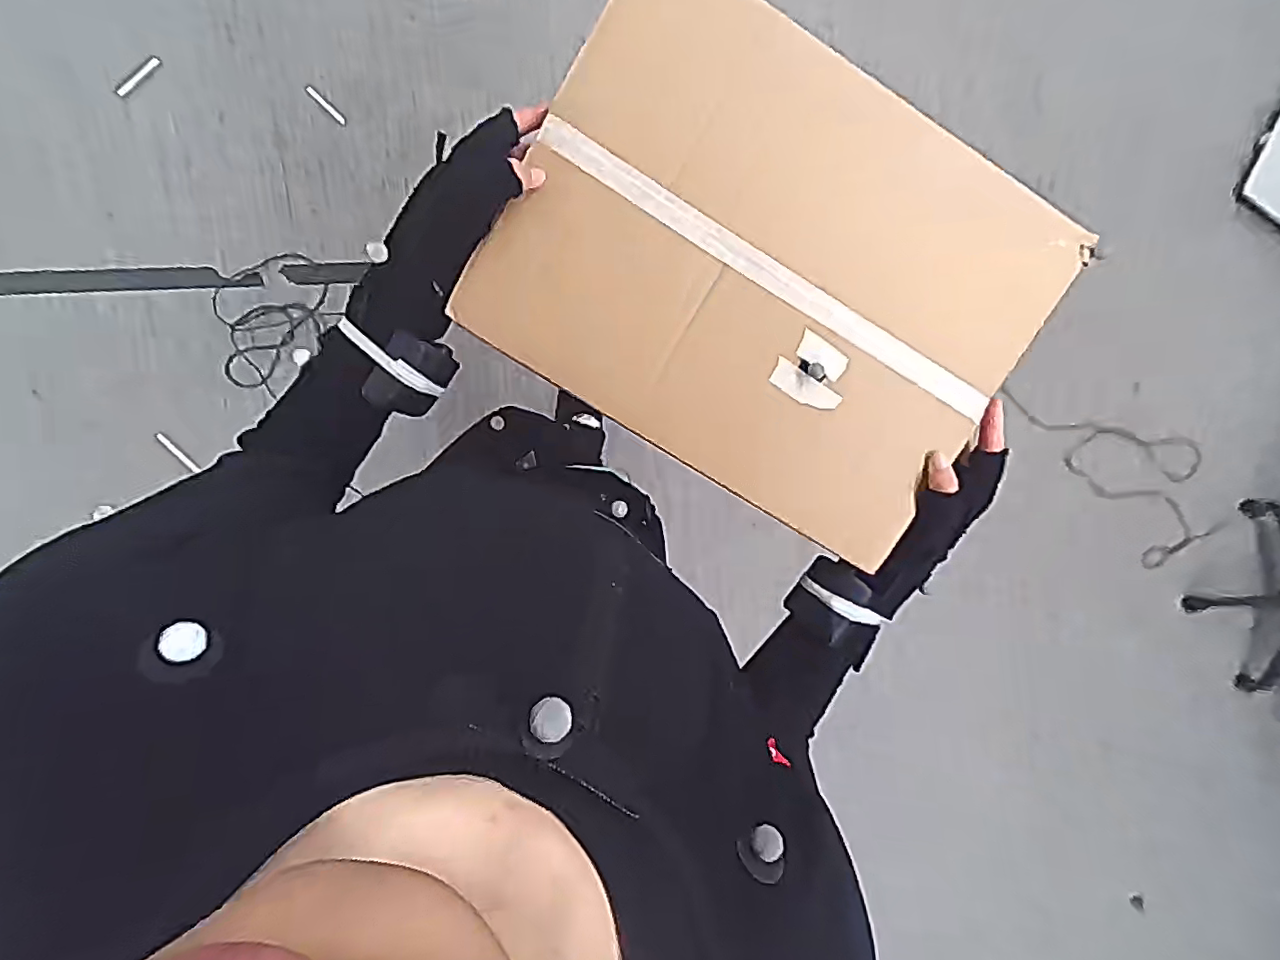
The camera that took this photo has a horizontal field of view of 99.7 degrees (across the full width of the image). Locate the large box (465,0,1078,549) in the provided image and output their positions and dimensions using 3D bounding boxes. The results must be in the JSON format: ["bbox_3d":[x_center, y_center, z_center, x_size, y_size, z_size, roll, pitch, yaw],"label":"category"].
[{"bbox_3d":[0.100,-0.187,0.575,0.408,0.320,0.320,31,97,-6],"label":"large box"}]
